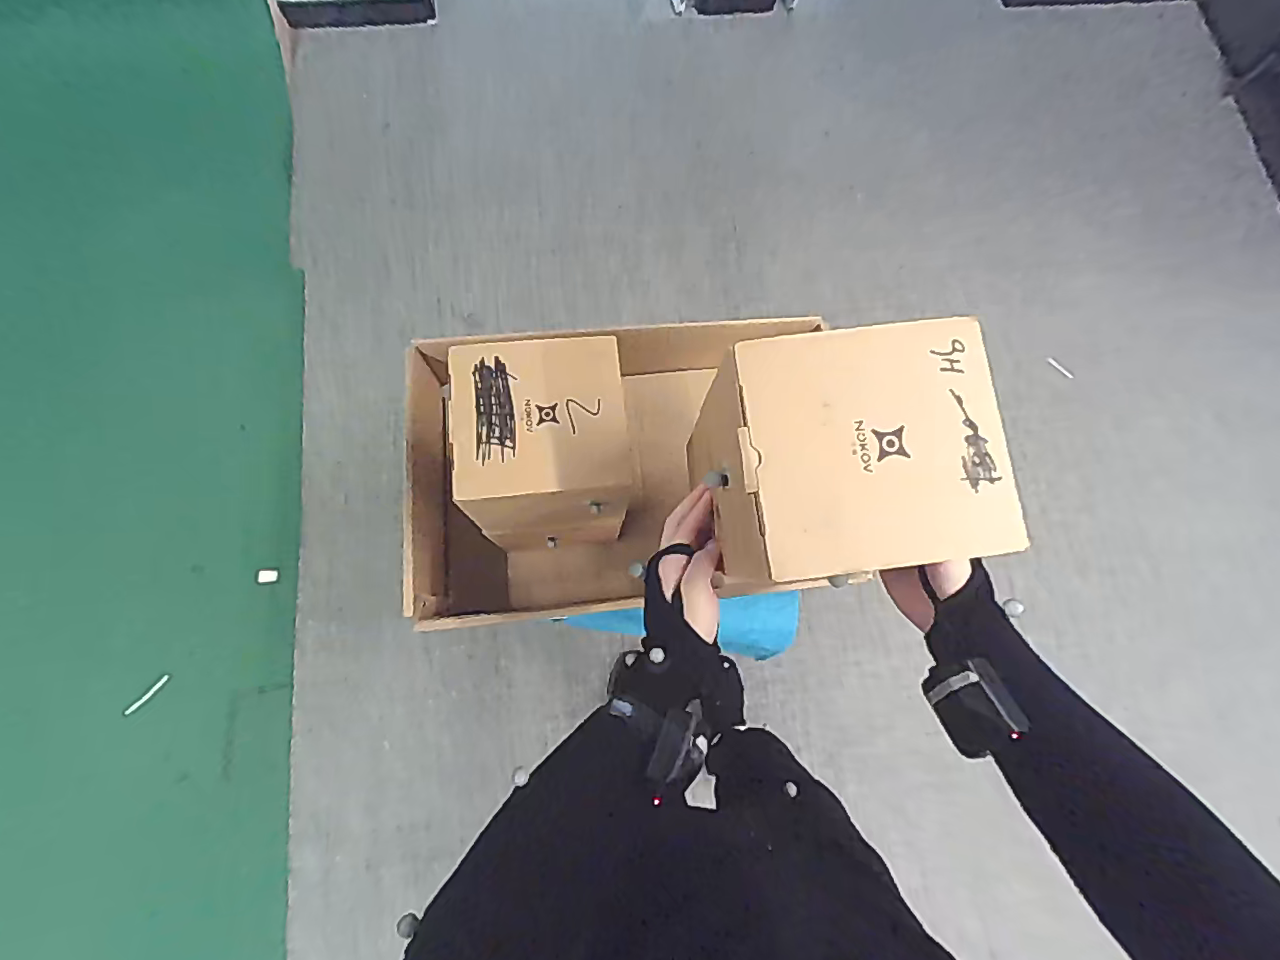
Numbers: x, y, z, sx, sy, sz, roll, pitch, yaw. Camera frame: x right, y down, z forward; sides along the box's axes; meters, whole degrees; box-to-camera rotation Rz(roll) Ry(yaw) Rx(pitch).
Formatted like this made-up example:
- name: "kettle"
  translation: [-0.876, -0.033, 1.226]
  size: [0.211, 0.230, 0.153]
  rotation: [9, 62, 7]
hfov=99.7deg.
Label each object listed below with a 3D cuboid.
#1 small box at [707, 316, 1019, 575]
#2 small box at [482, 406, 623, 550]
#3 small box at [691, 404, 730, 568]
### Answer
- name: "small box"
  translation: [0.153, -0.013, 0.442]
  size: [0.179, 0.176, 0.168]
  rotation: [-7, 82, -1]
- name: "small box"
  translation: [-0.123, 0.003, 0.772]
  size: [0.179, 0.176, 0.168]
  rotation: [-4, 75, -7]
- name: "small box"
  translation: [0.151, 0.013, 0.604]
  size: [0.179, 0.176, 0.168]
  rotation: [-3, 82, -1]
